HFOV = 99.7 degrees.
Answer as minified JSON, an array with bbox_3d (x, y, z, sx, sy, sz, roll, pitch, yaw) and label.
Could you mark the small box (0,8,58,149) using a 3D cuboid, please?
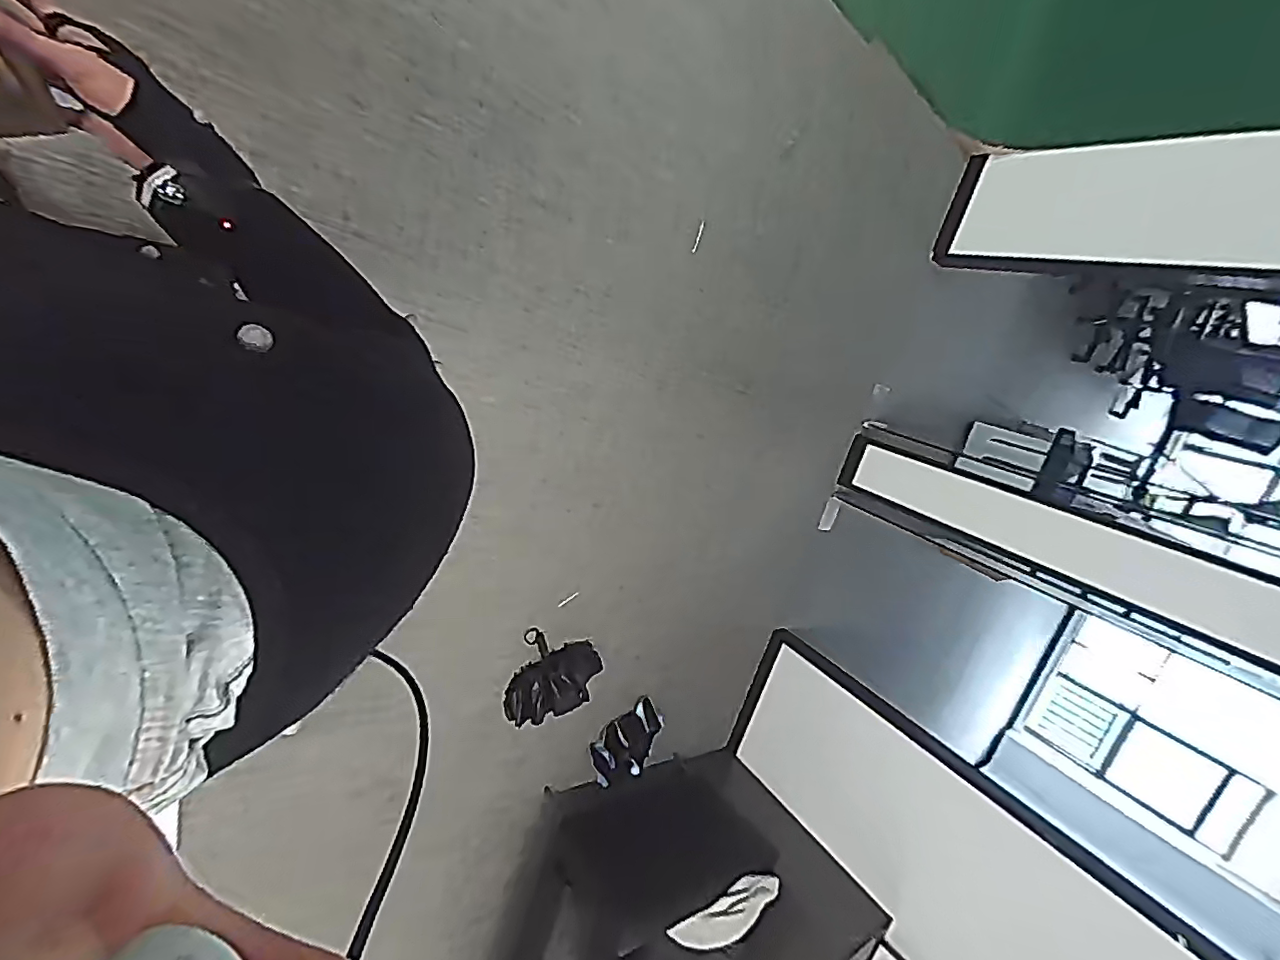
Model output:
[{"bbox_3d":[-0.537,-0.322,0.337,0.168,0.176,0.179,-24,118,-26],"label":"small box"}]
